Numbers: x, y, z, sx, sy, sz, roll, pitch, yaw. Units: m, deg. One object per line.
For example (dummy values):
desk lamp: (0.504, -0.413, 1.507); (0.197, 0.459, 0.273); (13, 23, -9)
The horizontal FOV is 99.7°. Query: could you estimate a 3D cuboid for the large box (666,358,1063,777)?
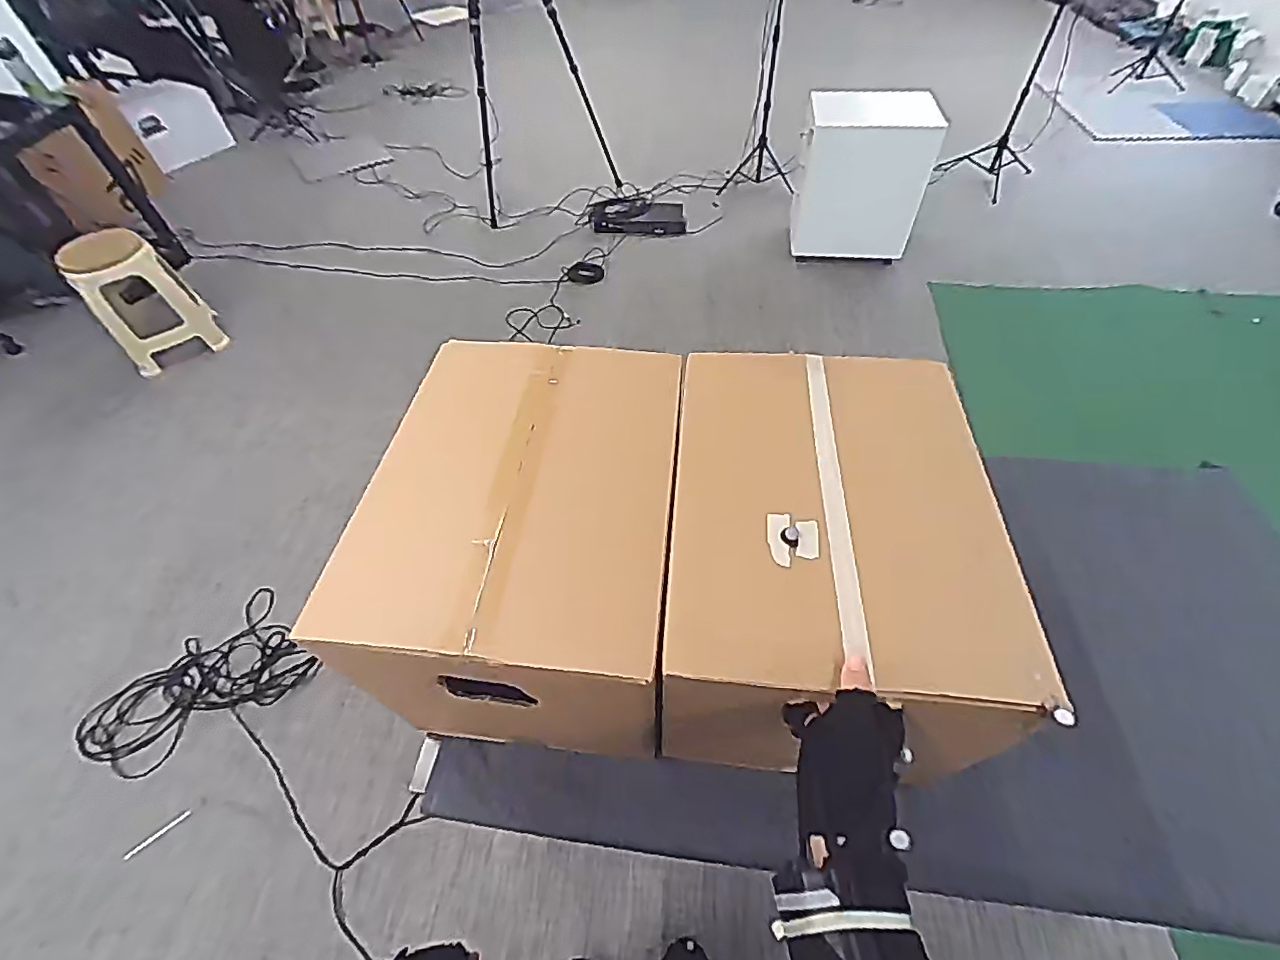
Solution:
large box: (0.196, 0.103, 0.663); (0.320, 0.320, 0.408); (3, 53, 6)
